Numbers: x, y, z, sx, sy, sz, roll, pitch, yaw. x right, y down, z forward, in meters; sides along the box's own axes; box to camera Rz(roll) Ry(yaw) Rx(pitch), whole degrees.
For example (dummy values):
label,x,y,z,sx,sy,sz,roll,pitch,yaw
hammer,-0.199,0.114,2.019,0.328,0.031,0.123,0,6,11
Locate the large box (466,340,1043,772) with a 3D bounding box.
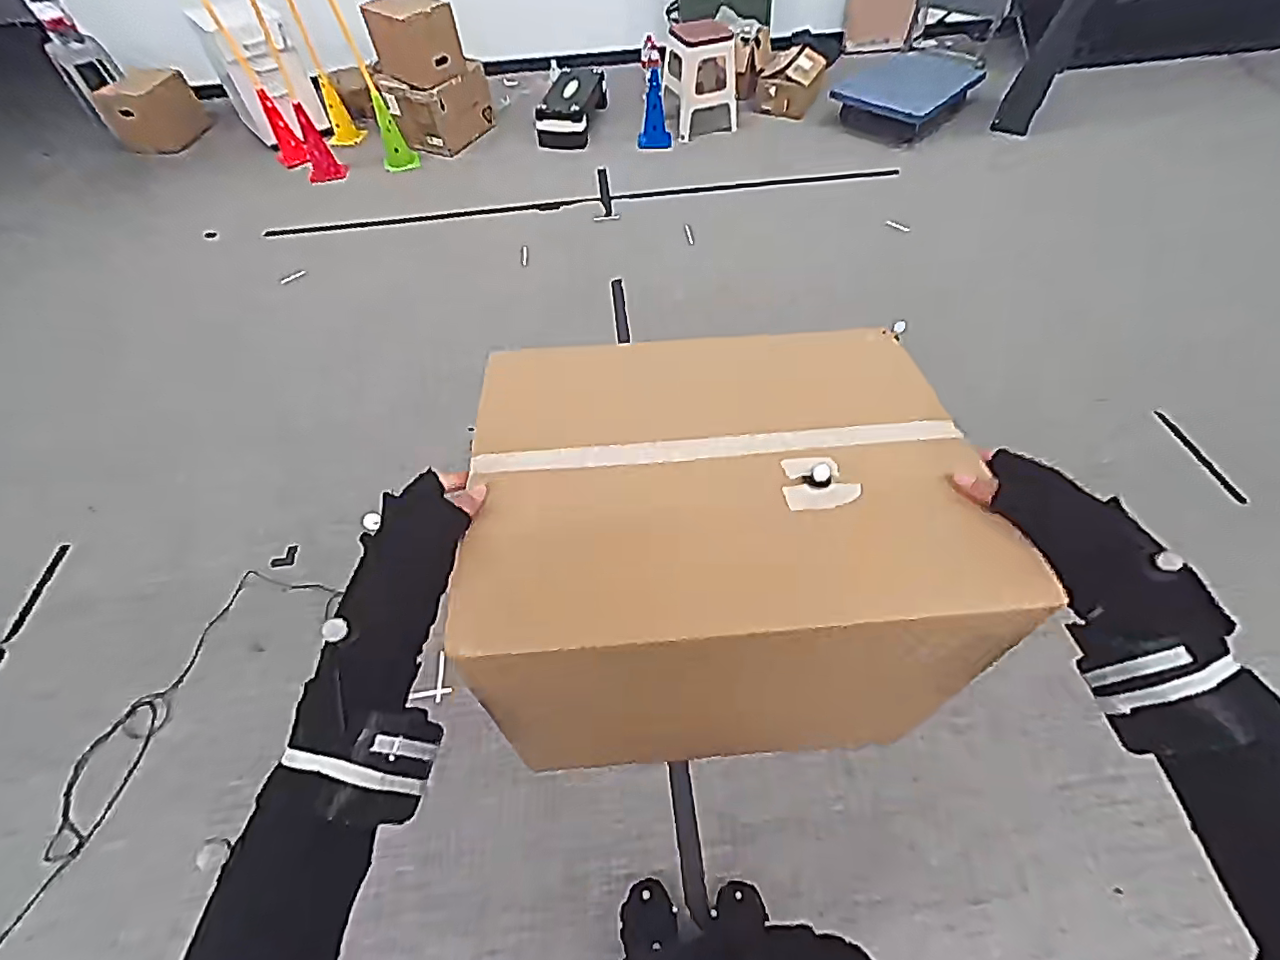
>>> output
label,x,y,z,sx,sy,sz,roll,pitch,yaw
large box,0.068,0.081,0.567,0.408,0.320,0.320,-4,50,-3
